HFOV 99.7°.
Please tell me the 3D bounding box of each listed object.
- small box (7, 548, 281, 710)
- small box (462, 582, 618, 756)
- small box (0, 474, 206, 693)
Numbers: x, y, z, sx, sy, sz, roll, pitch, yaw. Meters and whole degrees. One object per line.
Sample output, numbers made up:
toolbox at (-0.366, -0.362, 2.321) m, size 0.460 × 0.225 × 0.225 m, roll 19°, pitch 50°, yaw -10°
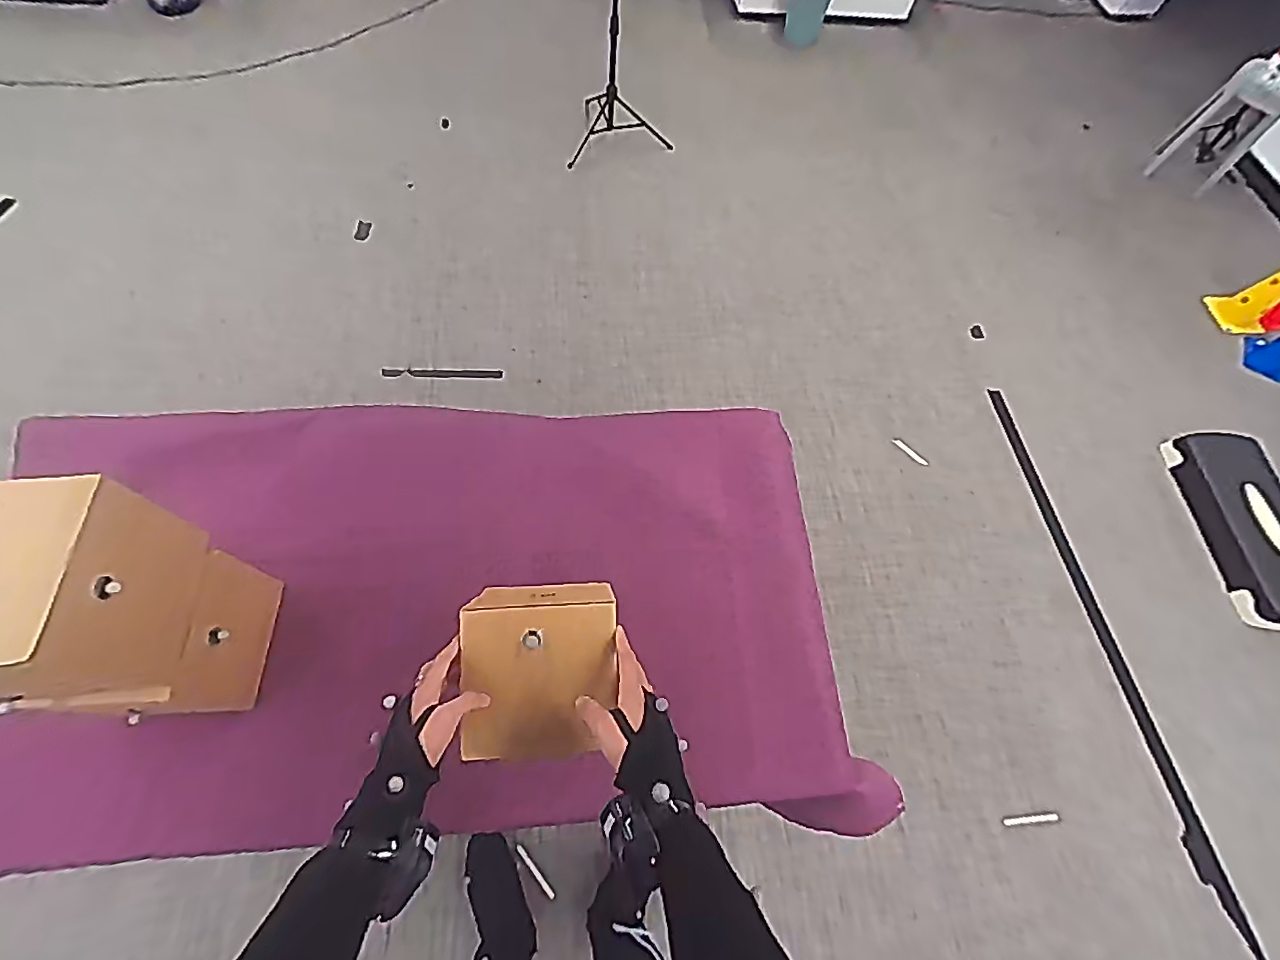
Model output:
small box at (-0.592, 0.193, 0.679) m, size 0.168 × 0.176 × 0.179 m, roll 1°, pitch 64°, yaw -6°
small box at (-0.119, 0.227, 0.683) m, size 0.179 × 0.168 × 0.176 m, roll -2°, pitch 85°, yaw -6°
small box at (-0.582, 0.111, 0.537) m, size 0.168 × 0.176 × 0.179 m, roll -3°, pitch 64°, yaw -7°
